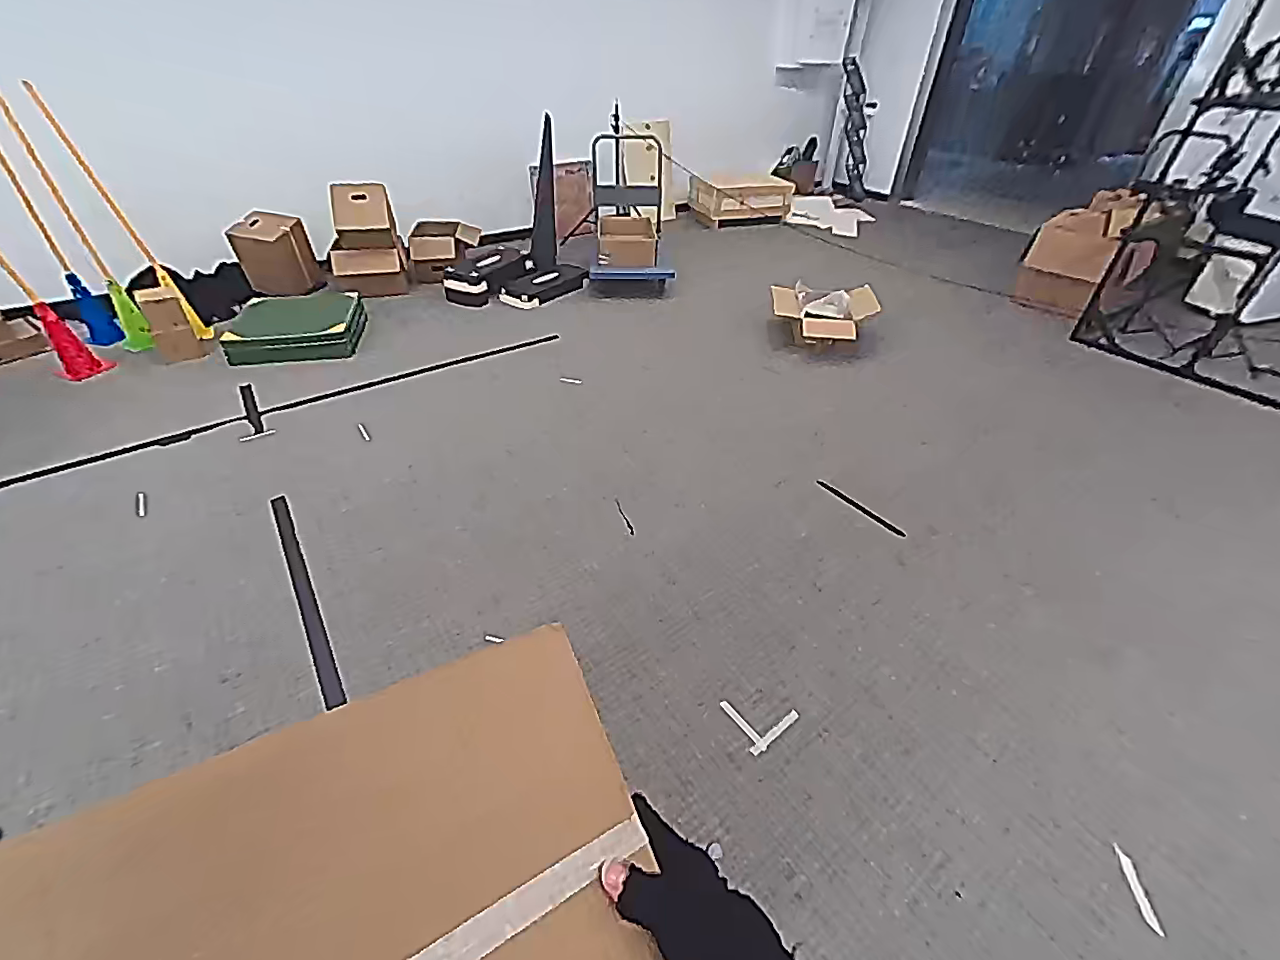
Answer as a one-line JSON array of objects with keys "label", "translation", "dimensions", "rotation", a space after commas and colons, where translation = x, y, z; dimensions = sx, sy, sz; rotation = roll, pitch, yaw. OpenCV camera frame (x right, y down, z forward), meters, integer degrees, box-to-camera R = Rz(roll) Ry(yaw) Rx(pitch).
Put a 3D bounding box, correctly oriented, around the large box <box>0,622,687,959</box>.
[{"label": "large box", "translation": [-0.228, 0.357, 0.417], "dimensions": [0.408, 0.320, 0.320], "rotation": [-16, 74, -30]}]
